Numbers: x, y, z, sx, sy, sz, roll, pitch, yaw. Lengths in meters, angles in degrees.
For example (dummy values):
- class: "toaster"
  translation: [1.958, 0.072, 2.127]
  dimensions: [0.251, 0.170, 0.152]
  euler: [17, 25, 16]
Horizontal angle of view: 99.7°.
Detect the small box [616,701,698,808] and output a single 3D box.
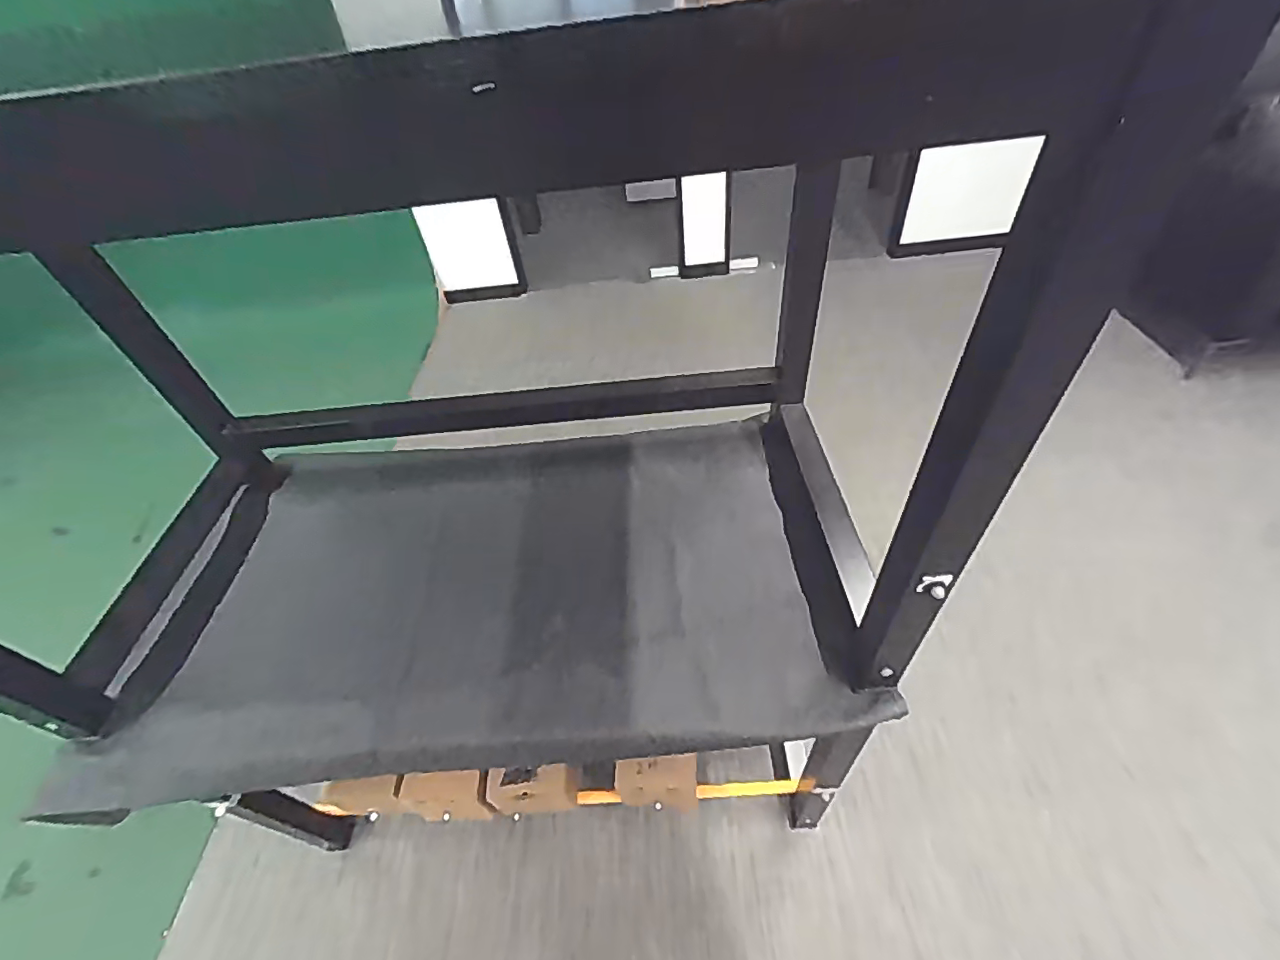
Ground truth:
- class: "small box"
  translation: [0.045, 0.621, 1.224]
  dimensions: [0.168, 0.176, 0.179]
  euler: [-2, 48, 7]
